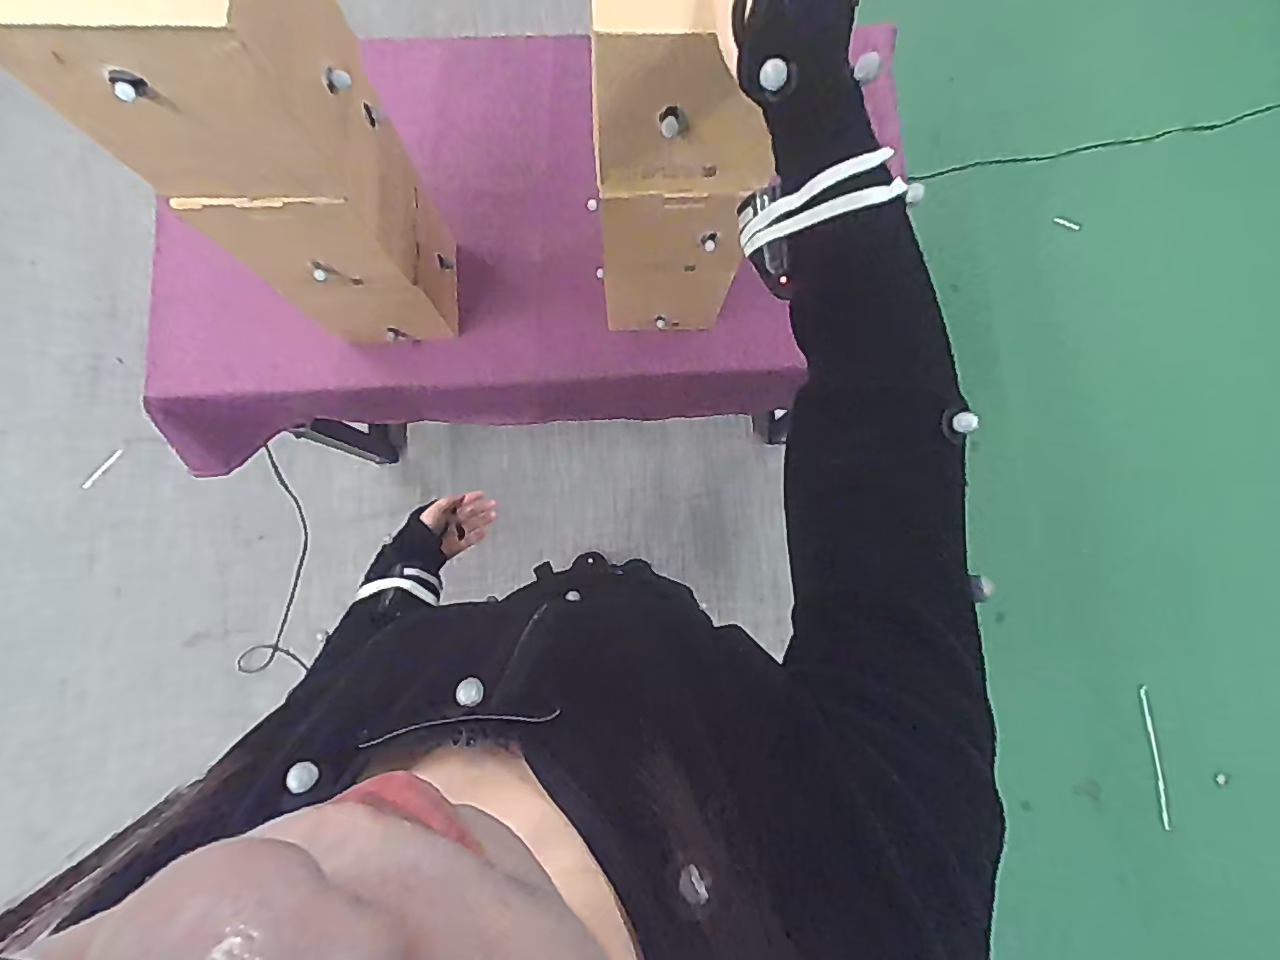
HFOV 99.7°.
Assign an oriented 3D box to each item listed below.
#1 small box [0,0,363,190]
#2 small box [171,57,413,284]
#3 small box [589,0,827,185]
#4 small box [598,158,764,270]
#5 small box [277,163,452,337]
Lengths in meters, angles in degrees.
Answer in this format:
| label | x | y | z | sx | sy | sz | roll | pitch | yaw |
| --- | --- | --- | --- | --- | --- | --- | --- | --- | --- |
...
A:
| label | x | y | z | sx | sy | sz | roll | pitch | yaw |
| --- | --- | --- | --- | --- | --- | --- | --- | --- | --- |
| small box | -0.354 | -0.361 | 0.436 | 0.179 | 0.176 | 0.168 | -1 | 83 | -3 |
| small box | -0.365 | -0.340 | 0.599 | 0.168 | 0.176 | 0.179 | -3 | 84 | -2 |
| small box | 0.042 | -0.378 | 0.457 | 0.168 | 0.176 | 0.179 | -2 | 83 | -3 |
| small box | 0.036 | -0.357 | 0.618 | 0.168 | 0.176 | 0.179 | -3 | 83 | -3 |
| small box | -0.372 | -0.313 | 0.762 | 0.179 | 0.176 | 0.168 | -4 | 83 | -4 |
